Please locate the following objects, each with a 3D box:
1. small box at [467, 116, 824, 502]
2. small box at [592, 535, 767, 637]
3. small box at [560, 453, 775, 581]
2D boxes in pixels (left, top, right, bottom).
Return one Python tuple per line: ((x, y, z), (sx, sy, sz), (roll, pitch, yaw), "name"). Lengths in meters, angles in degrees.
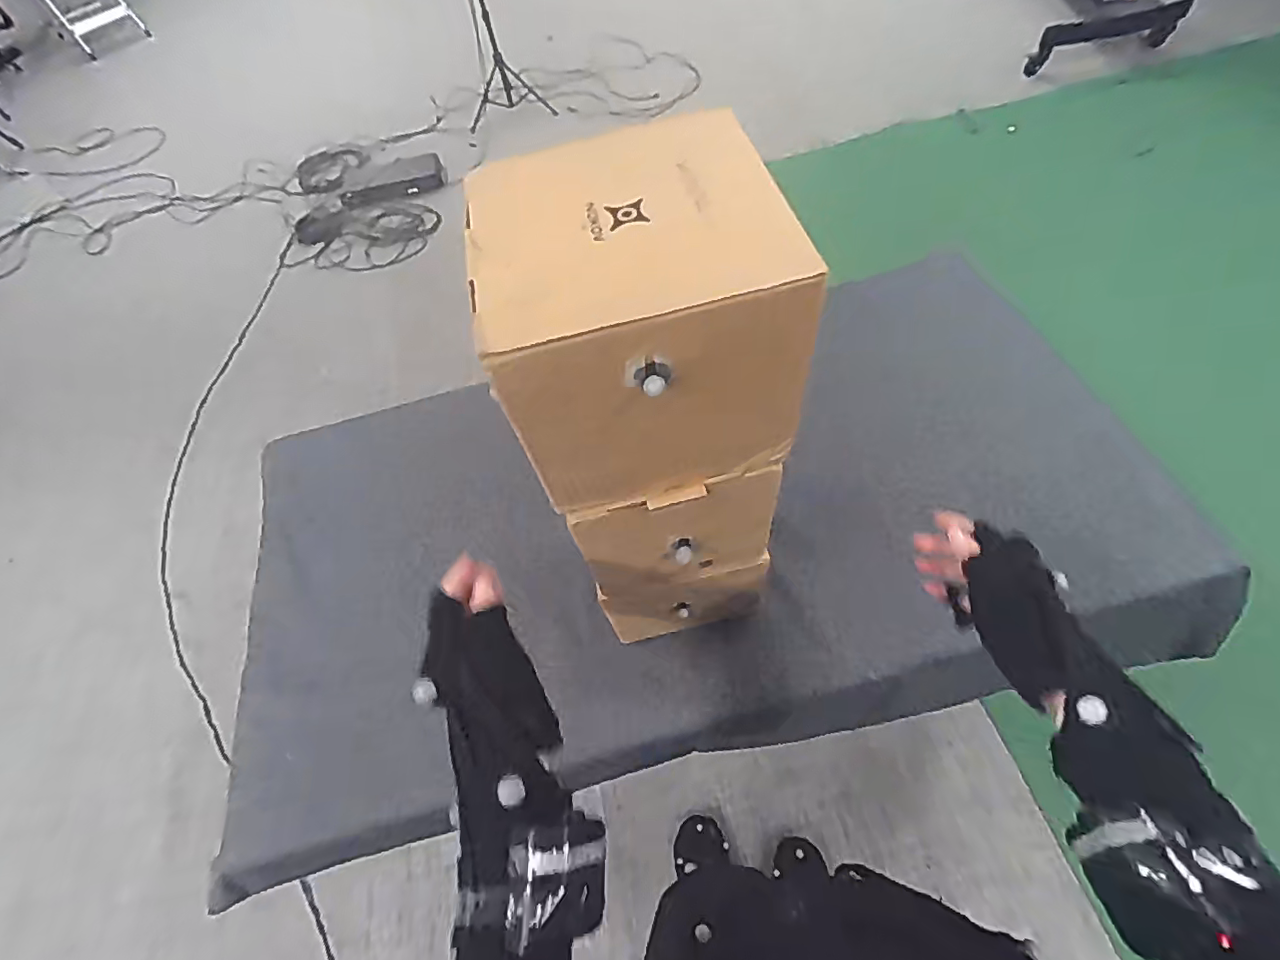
((-0.001, -0.103, 0.368), (0.179, 0.176, 0.168), (-13, 59, -2), "small box")
((0.035, 0.071, 0.641), (0.179, 0.176, 0.168), (-14, 59, 0), "small box")
((0.015, -0.018, 0.506), (0.168, 0.176, 0.179), (-14, 59, -1), "small box")
